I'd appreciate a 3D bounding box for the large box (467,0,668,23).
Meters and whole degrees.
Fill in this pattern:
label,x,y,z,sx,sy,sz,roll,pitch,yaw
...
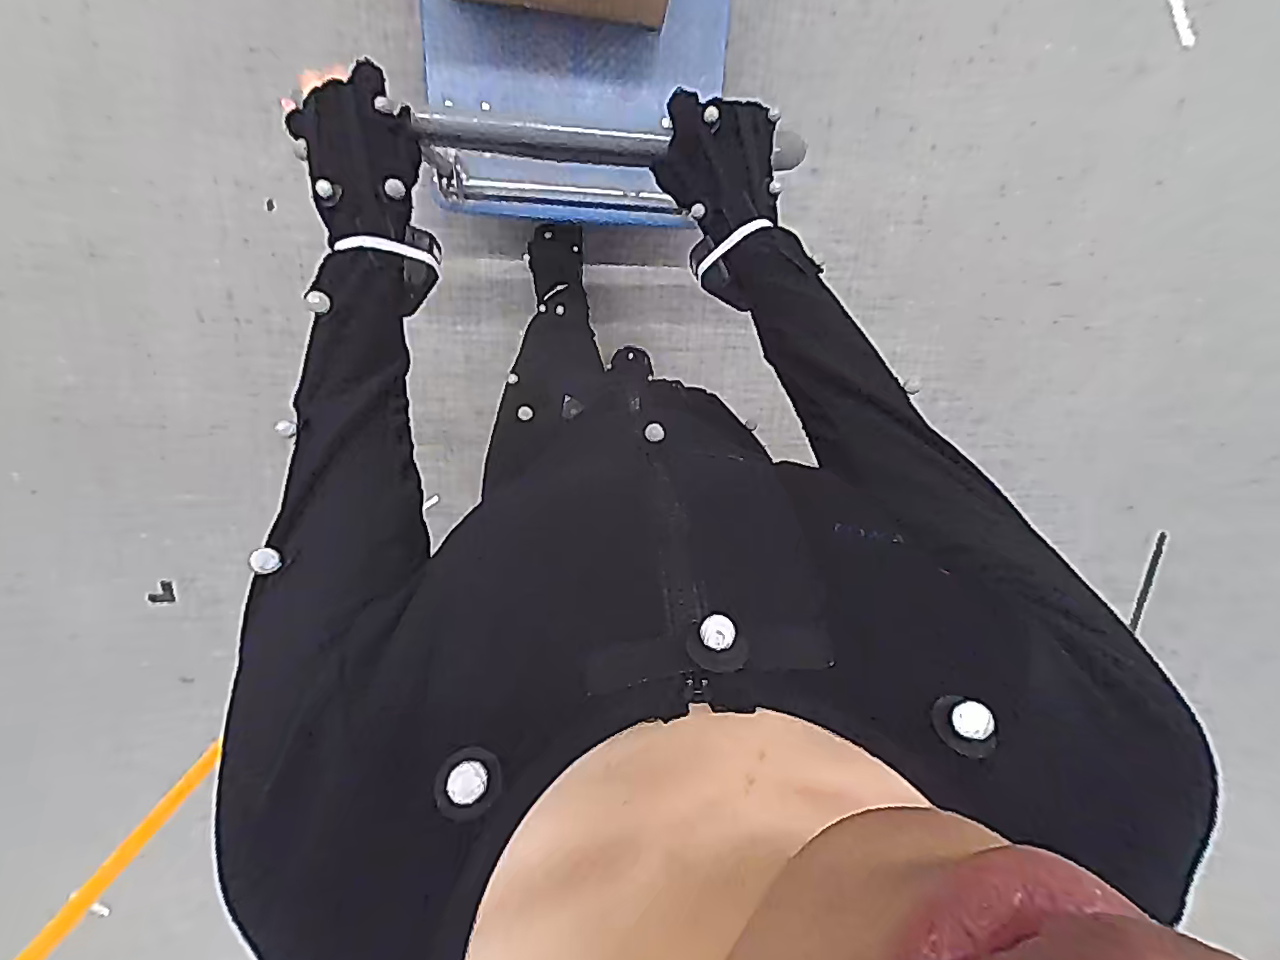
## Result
label,x,y,z,sx,sy,sz,roll,pitch,yaw
large box,-0.134,-0.976,0.834,0.408,0.320,0.320,4,109,-5
